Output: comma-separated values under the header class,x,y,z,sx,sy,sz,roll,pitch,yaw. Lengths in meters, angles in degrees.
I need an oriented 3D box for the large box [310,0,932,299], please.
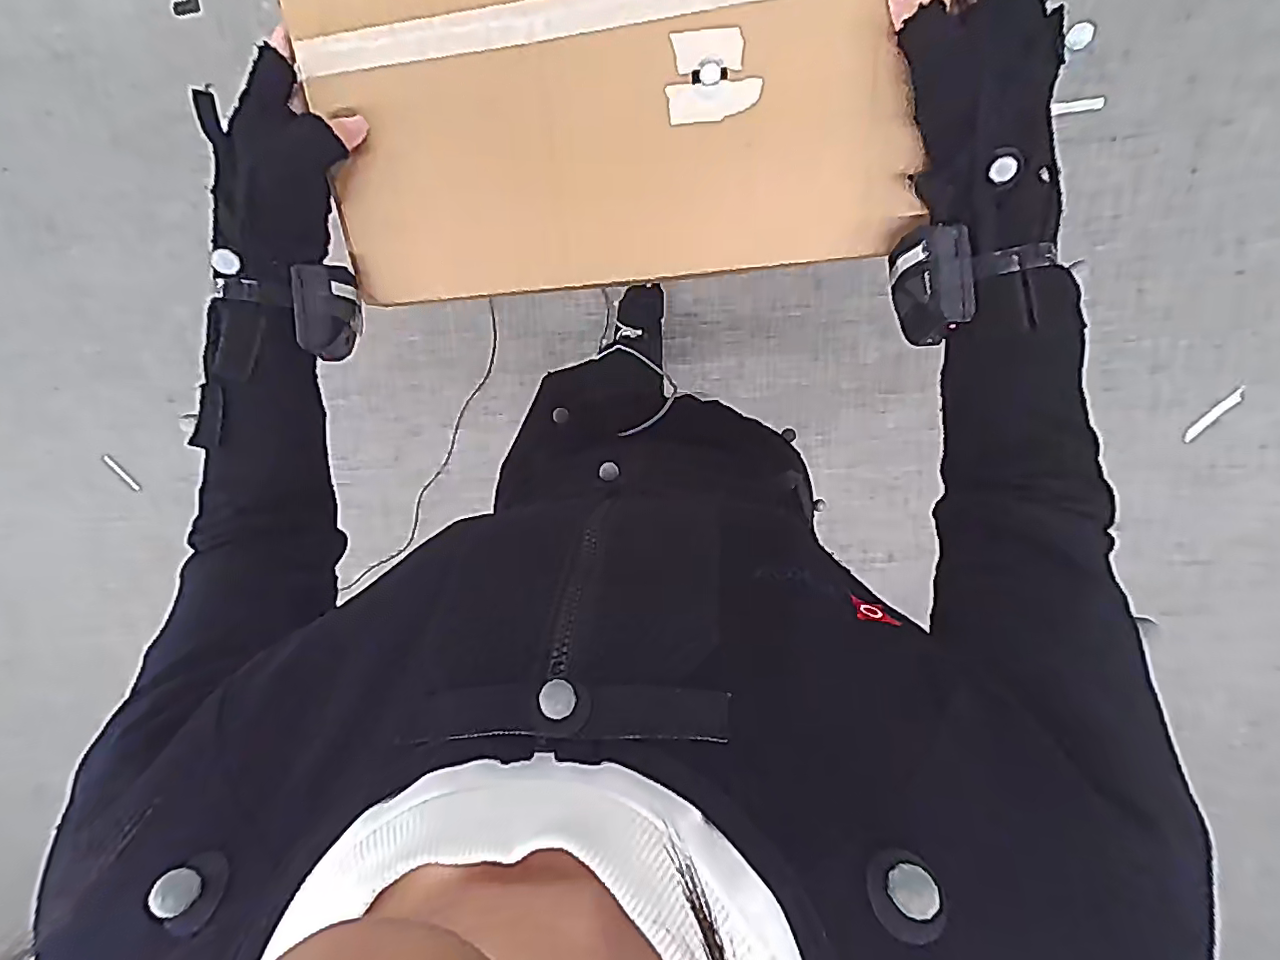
class,x,y,z,sx,sy,sz,roll,pitch,yaw
large box,-0.007,-0.350,0.484,0.408,0.320,0.320,-3,111,8
